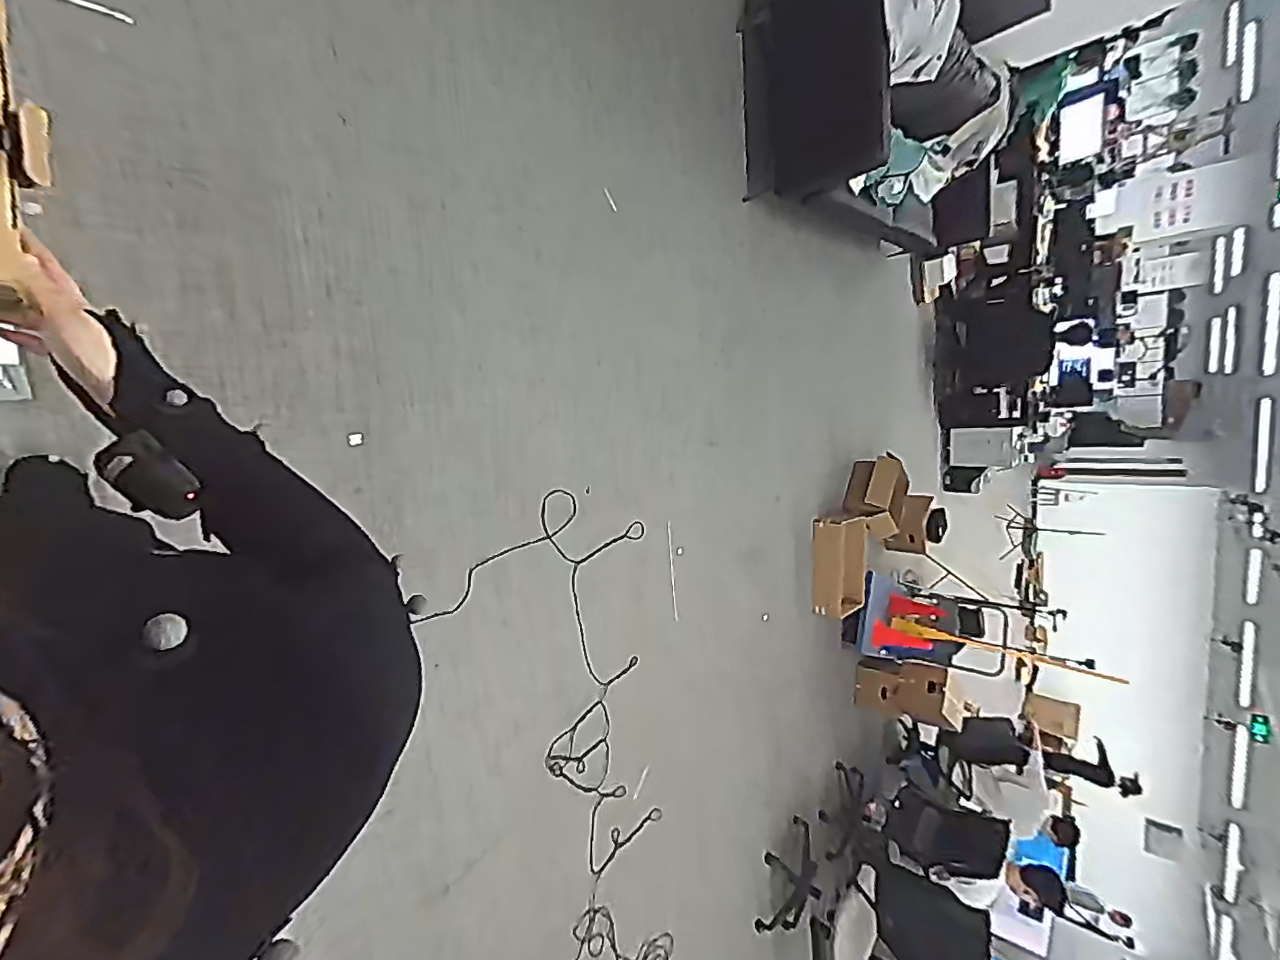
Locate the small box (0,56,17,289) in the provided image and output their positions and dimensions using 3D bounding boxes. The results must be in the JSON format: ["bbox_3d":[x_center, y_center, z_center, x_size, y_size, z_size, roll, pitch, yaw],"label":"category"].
[{"bbox_3d":[-0.485,-0.206,0.299,0.179,0.176,0.168,-5,102,-49],"label":"small box"}]
